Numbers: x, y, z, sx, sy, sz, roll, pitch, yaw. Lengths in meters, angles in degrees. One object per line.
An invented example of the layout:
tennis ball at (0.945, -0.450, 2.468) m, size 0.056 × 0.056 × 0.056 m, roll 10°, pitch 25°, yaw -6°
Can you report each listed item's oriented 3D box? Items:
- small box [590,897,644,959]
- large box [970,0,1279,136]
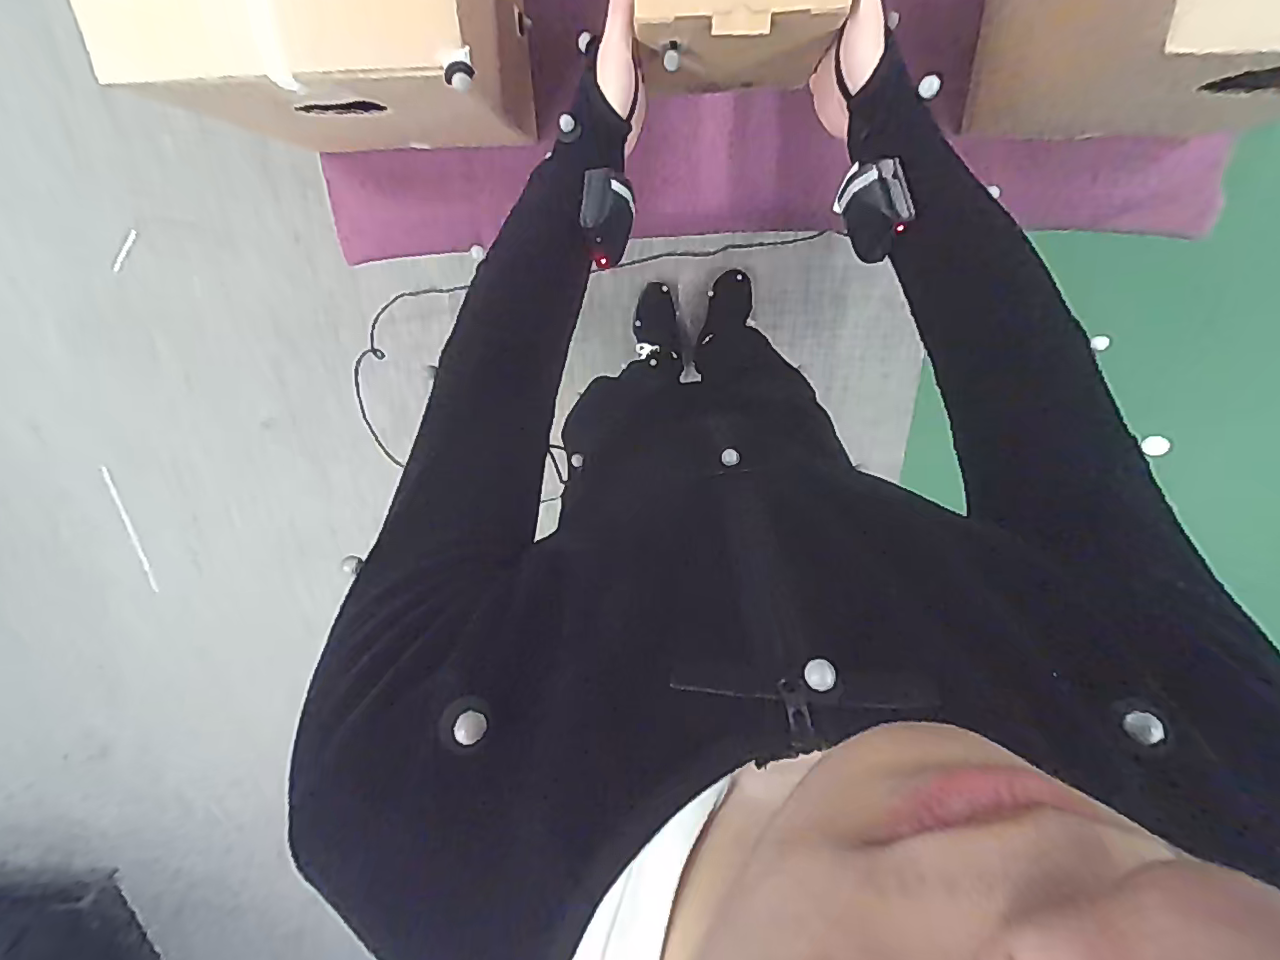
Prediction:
small box at (-0.072, 1.497, 1.763) m, size 0.168 × 0.176 × 0.179 m, roll -2°, pitch 114°, yaw 2°
large box at (0.569, -0.578, 0.491) m, size 0.320 × 0.320 × 0.408 m, roll 0°, pitch 113°, yaw 2°
